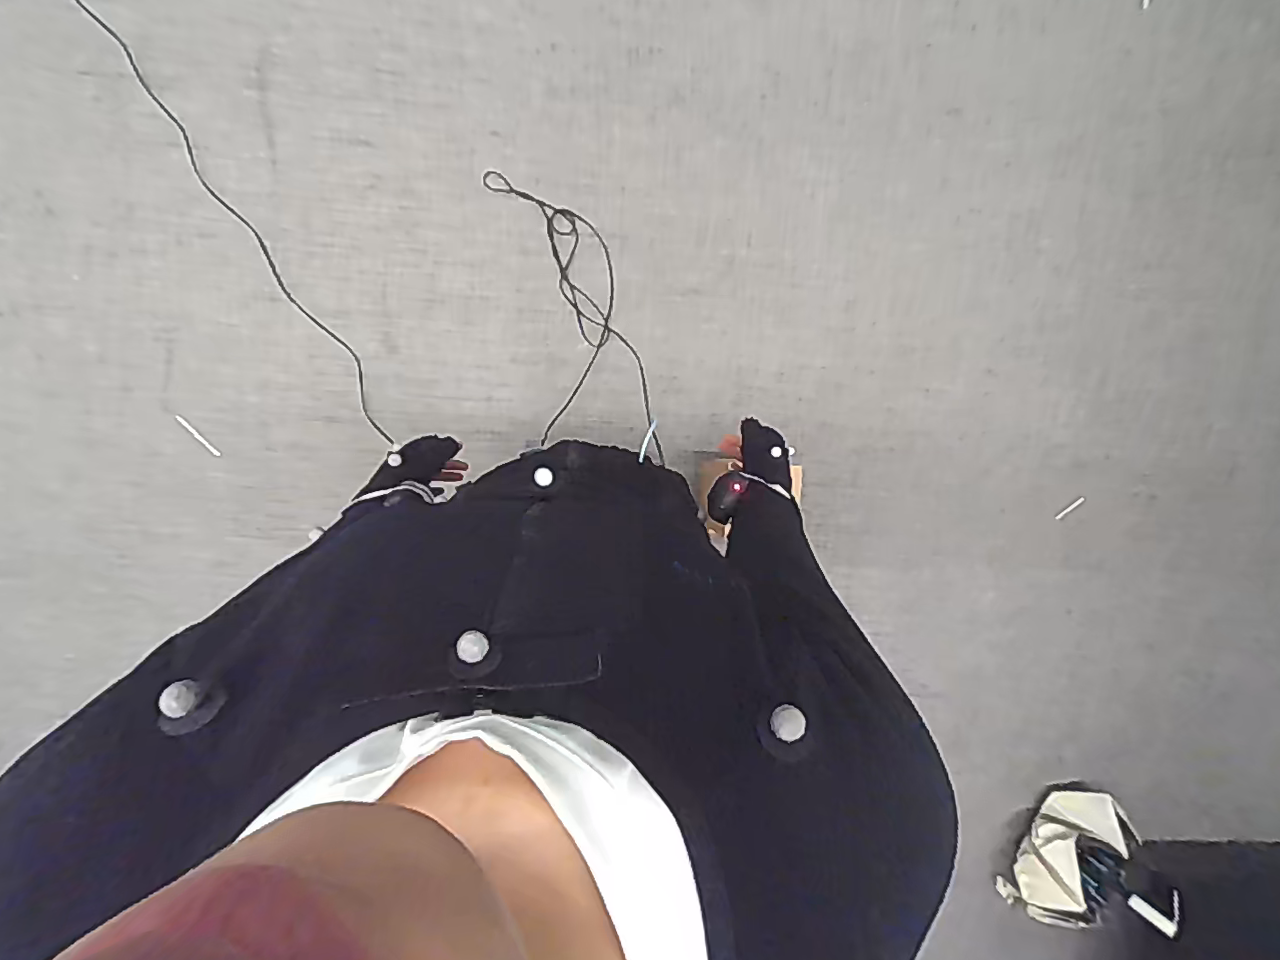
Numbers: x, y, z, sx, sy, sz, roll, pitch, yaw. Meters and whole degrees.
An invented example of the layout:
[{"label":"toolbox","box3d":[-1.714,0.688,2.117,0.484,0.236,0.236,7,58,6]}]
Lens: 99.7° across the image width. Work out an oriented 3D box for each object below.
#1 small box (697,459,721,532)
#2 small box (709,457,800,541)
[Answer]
[{"label":"small box","box3d":[0.252,0.043,1.433,0.168,0.176,0.179,6,95,-5]},{"label":"small box","box3d":[0.260,0.039,1.267,0.168,0.176,0.179,3,95,-4]}]
